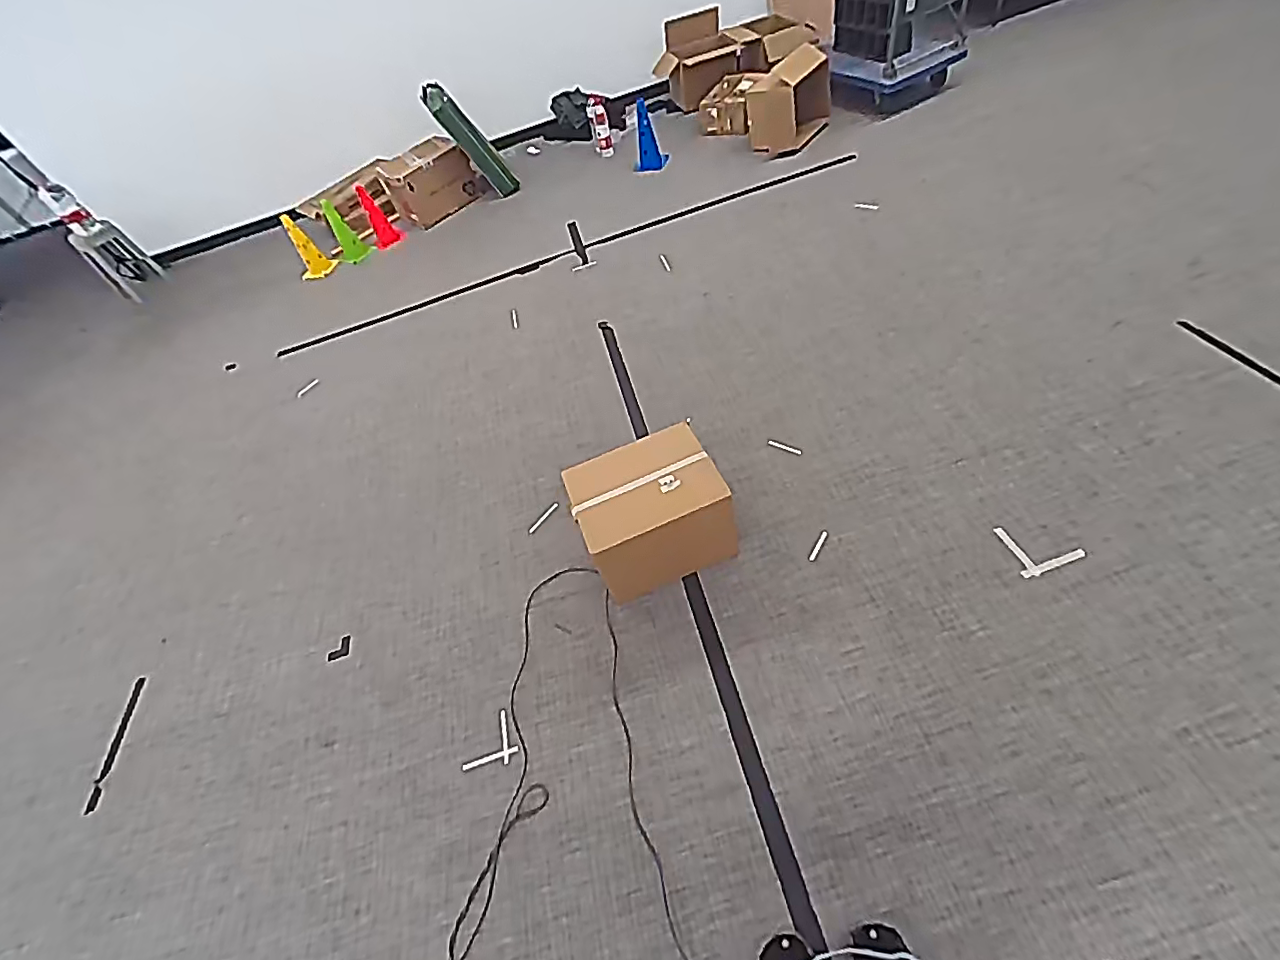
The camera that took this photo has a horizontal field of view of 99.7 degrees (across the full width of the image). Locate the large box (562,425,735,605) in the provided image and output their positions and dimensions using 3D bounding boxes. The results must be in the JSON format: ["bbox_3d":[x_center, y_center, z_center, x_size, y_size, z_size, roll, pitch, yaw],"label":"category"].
[{"bbox_3d":[0.032,0.108,1.607,0.408,0.320,0.320,-22,51,-4],"label":"large box"}]
